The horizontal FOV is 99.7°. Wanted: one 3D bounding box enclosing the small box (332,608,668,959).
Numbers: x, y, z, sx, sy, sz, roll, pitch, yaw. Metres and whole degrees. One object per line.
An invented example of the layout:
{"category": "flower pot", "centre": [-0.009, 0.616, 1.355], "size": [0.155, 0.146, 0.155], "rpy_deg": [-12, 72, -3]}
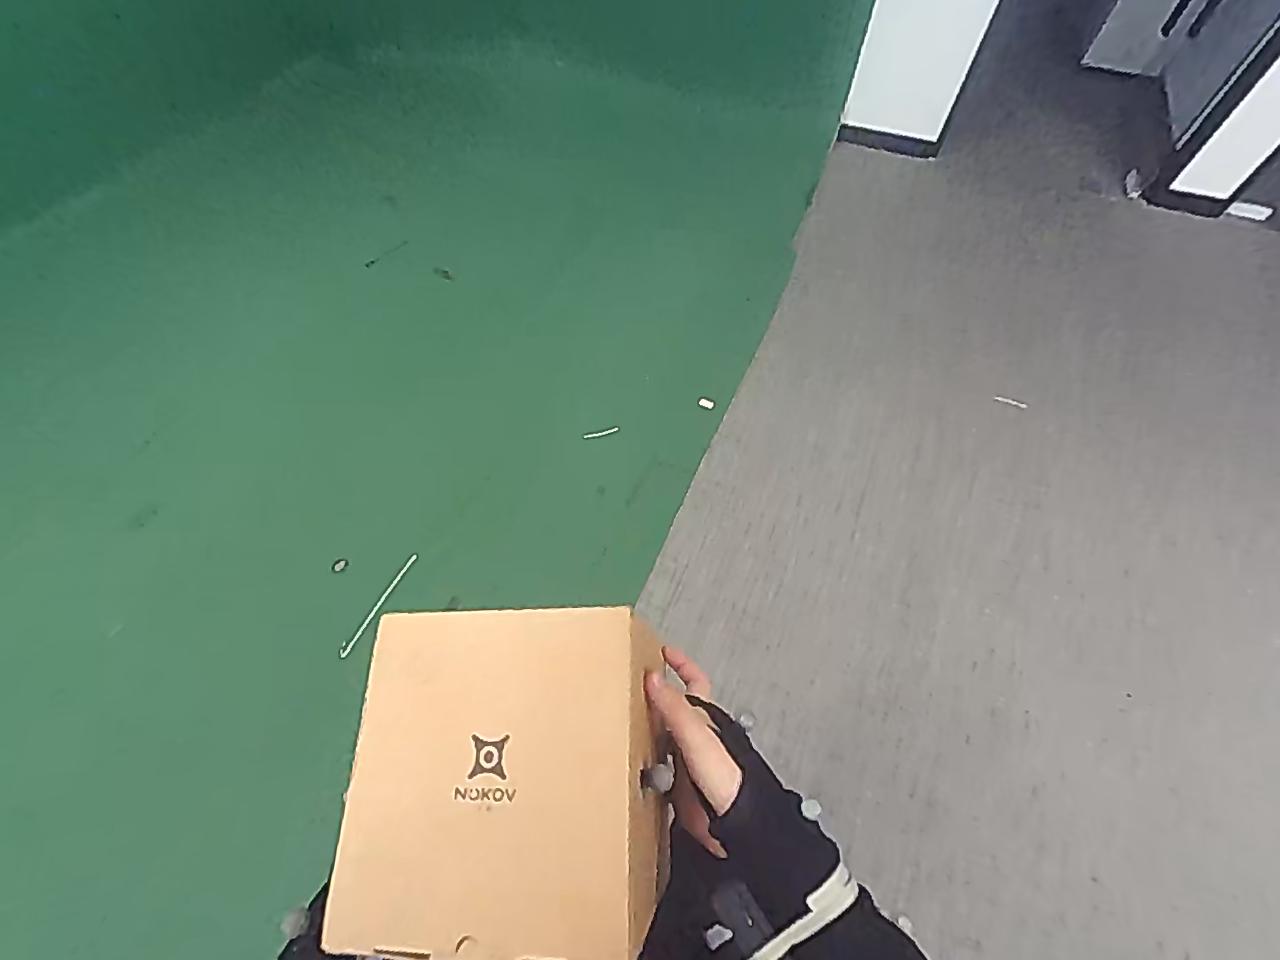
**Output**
{"category": "small box", "centre": [-0.072, 0.195, 0.381], "size": [0.168, 0.176, 0.179], "rpy_deg": [-4, 67, 8]}
